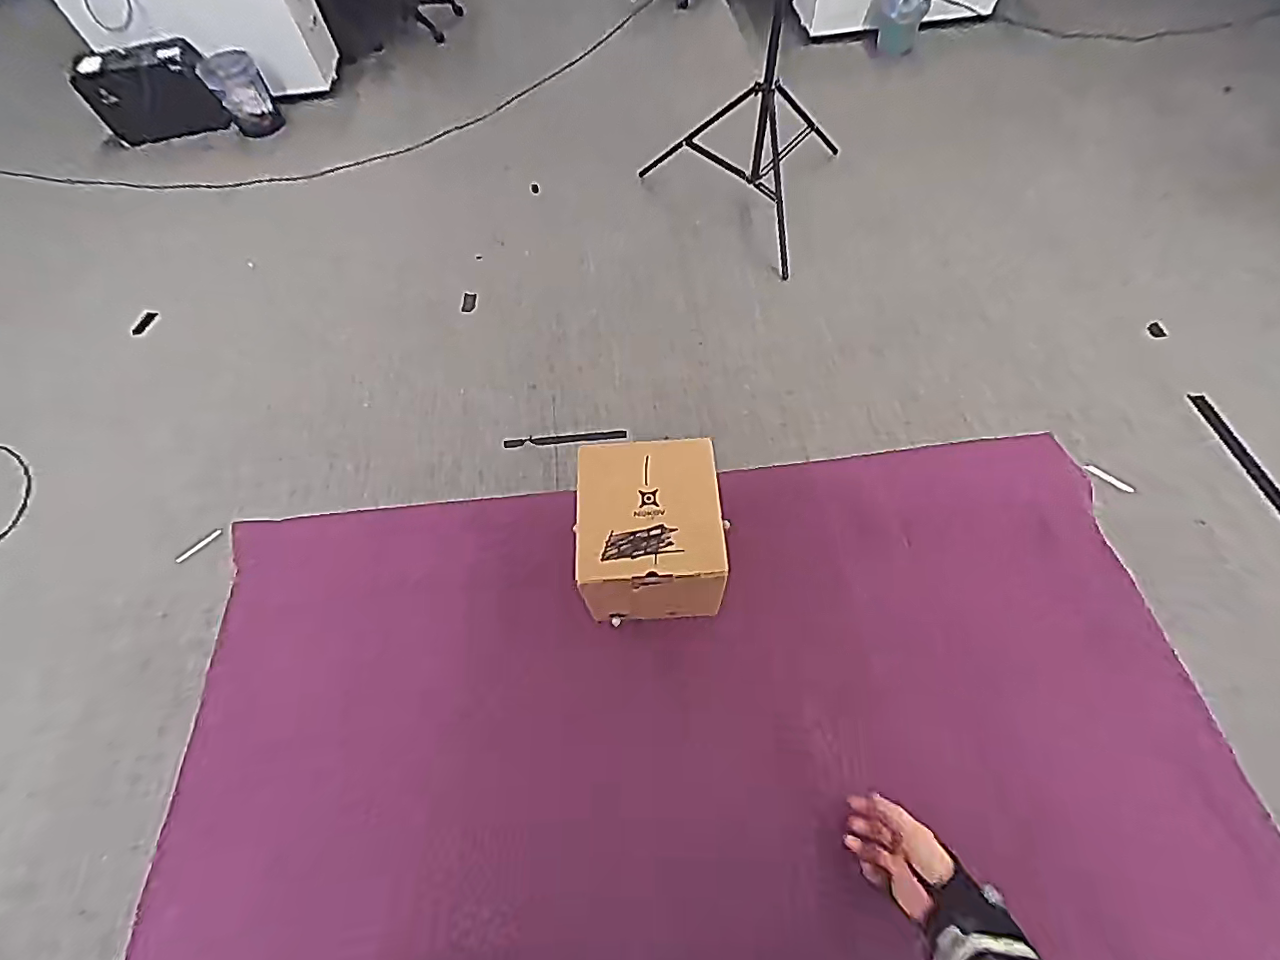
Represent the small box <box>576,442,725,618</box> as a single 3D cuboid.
[{"bbox_3d":[0.014,0.072,0.689,0.168,0.176,0.179,-3,60,1],"label":"small box"}]
